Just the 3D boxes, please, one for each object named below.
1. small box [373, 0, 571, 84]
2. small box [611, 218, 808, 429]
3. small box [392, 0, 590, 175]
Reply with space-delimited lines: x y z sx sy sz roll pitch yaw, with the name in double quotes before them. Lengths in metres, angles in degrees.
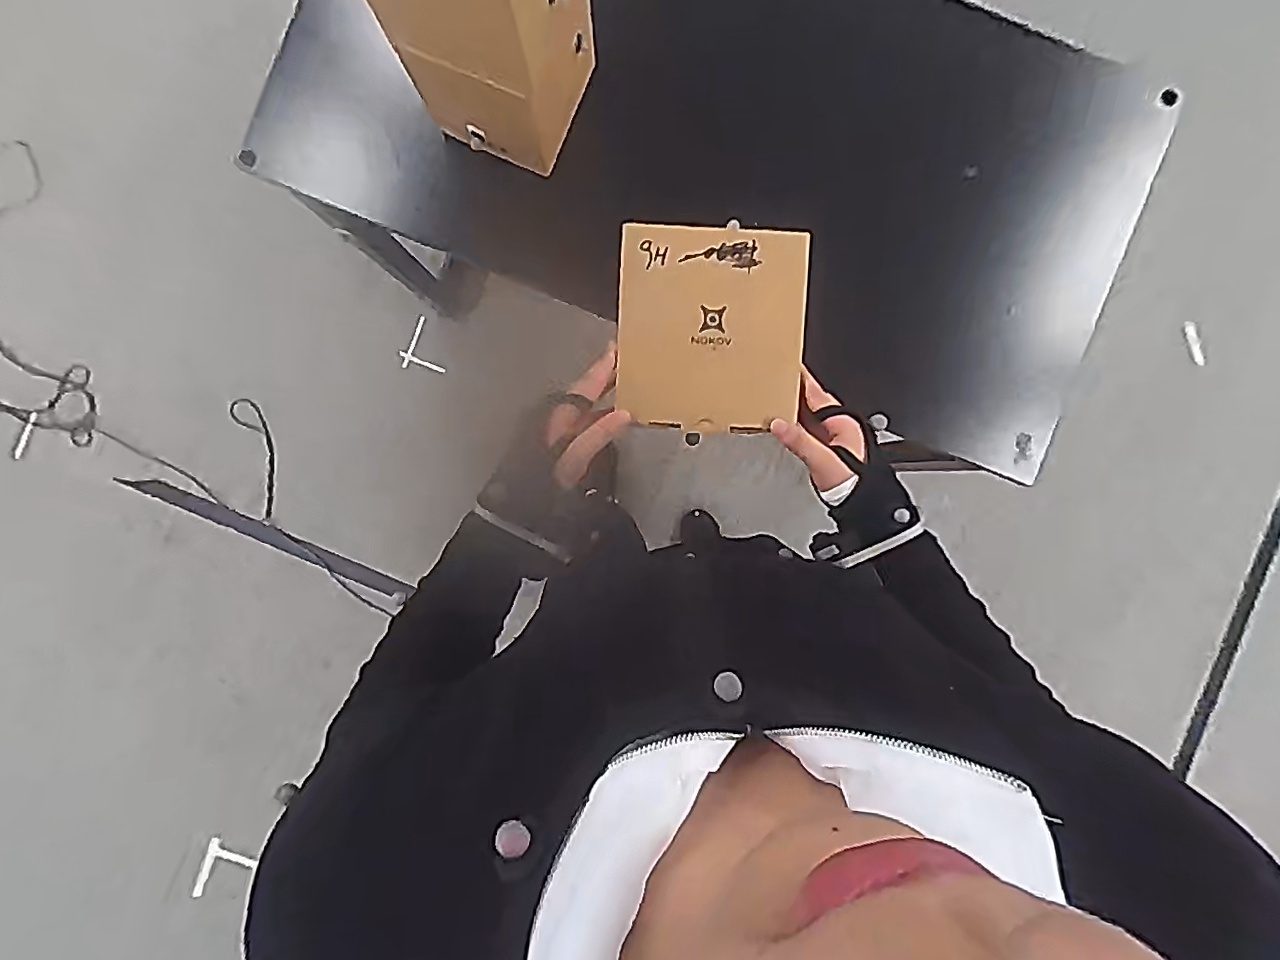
"small box" -0.167 -0.528 0.511 0.179 0.176 0.168 21 90 -1
"small box" 0.060 -0.146 0.559 0.168 0.176 0.179 3 96 -1
"small box" -0.169 -0.531 0.675 0.168 0.176 0.179 22 91 0
